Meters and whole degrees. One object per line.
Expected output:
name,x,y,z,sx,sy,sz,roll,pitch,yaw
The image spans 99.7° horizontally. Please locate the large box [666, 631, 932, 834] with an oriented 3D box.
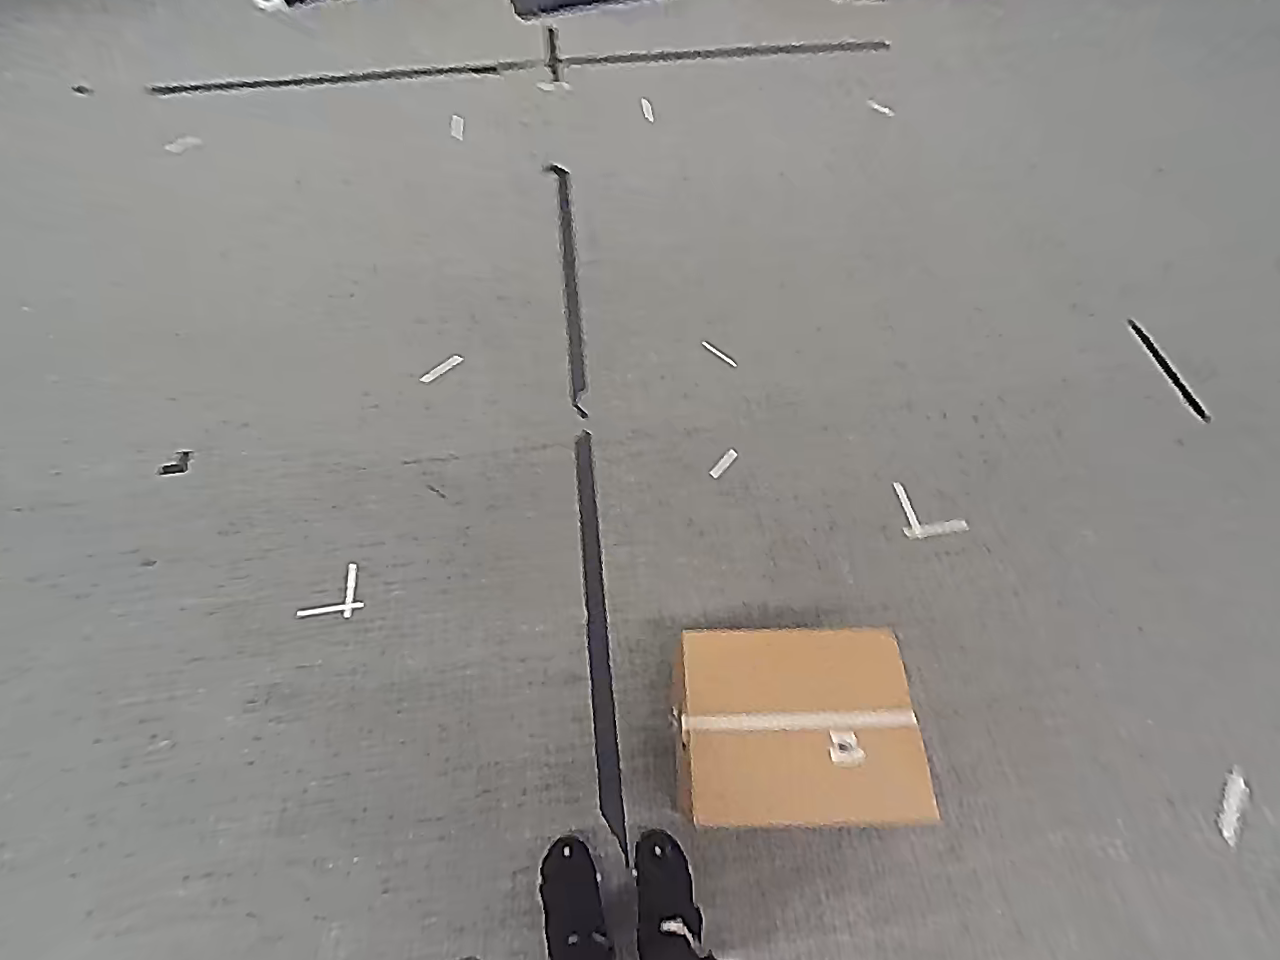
large box,0.271,0.497,1.075,0.408,0.320,0.320,0,62,-3
